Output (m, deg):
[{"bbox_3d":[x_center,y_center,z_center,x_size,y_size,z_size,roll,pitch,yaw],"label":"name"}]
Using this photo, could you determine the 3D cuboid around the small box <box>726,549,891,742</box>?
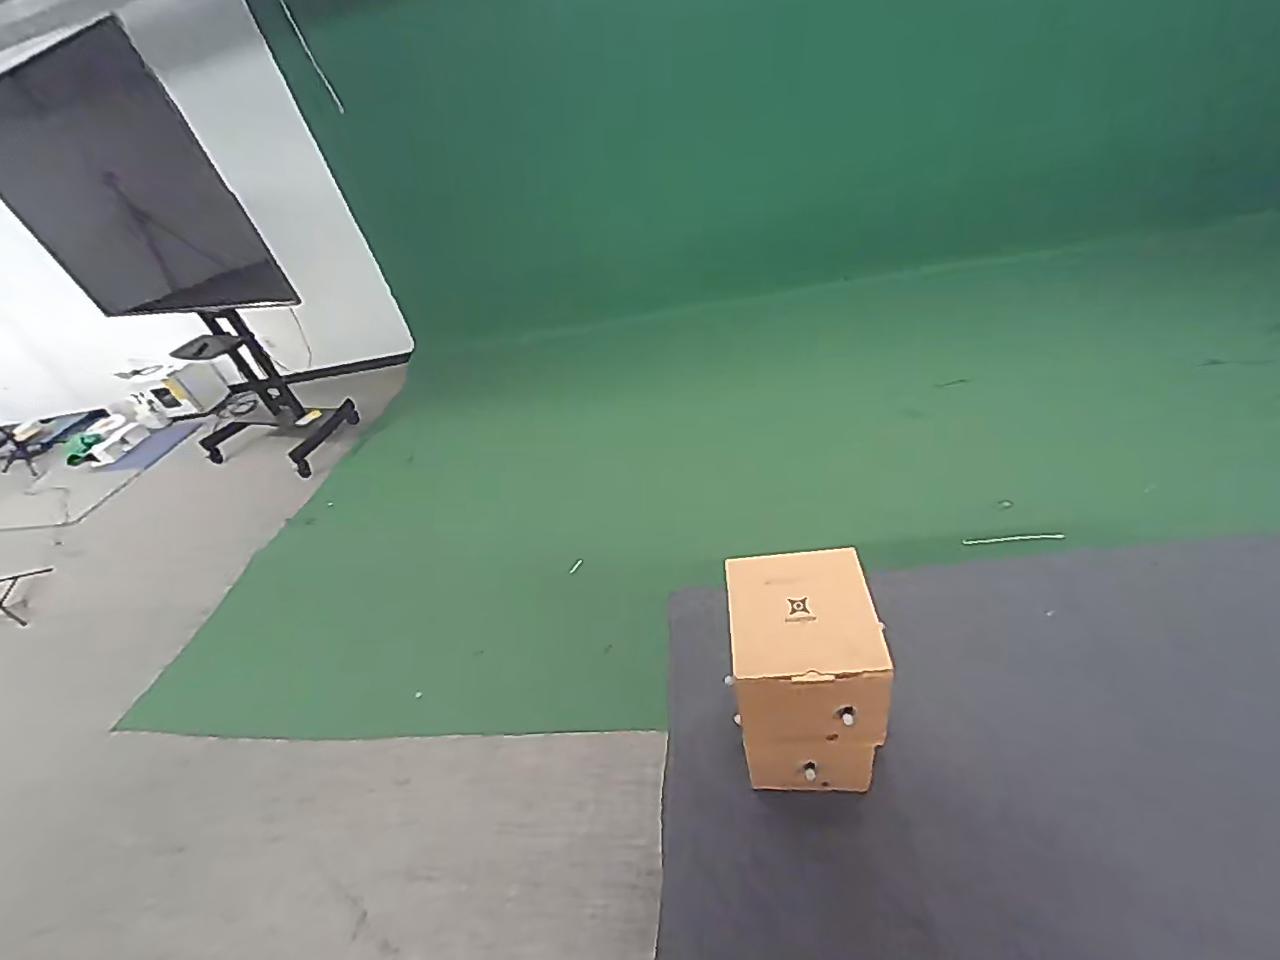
[{"bbox_3d":[0.203,0.213,0.683,0.168,0.176,0.179,-6,38,9],"label":"small box"}]

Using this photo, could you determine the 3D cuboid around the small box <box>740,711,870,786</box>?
[{"bbox_3d":[0.236,0.328,0.794,0.168,0.176,0.179,-5,39,11],"label":"small box"}]
